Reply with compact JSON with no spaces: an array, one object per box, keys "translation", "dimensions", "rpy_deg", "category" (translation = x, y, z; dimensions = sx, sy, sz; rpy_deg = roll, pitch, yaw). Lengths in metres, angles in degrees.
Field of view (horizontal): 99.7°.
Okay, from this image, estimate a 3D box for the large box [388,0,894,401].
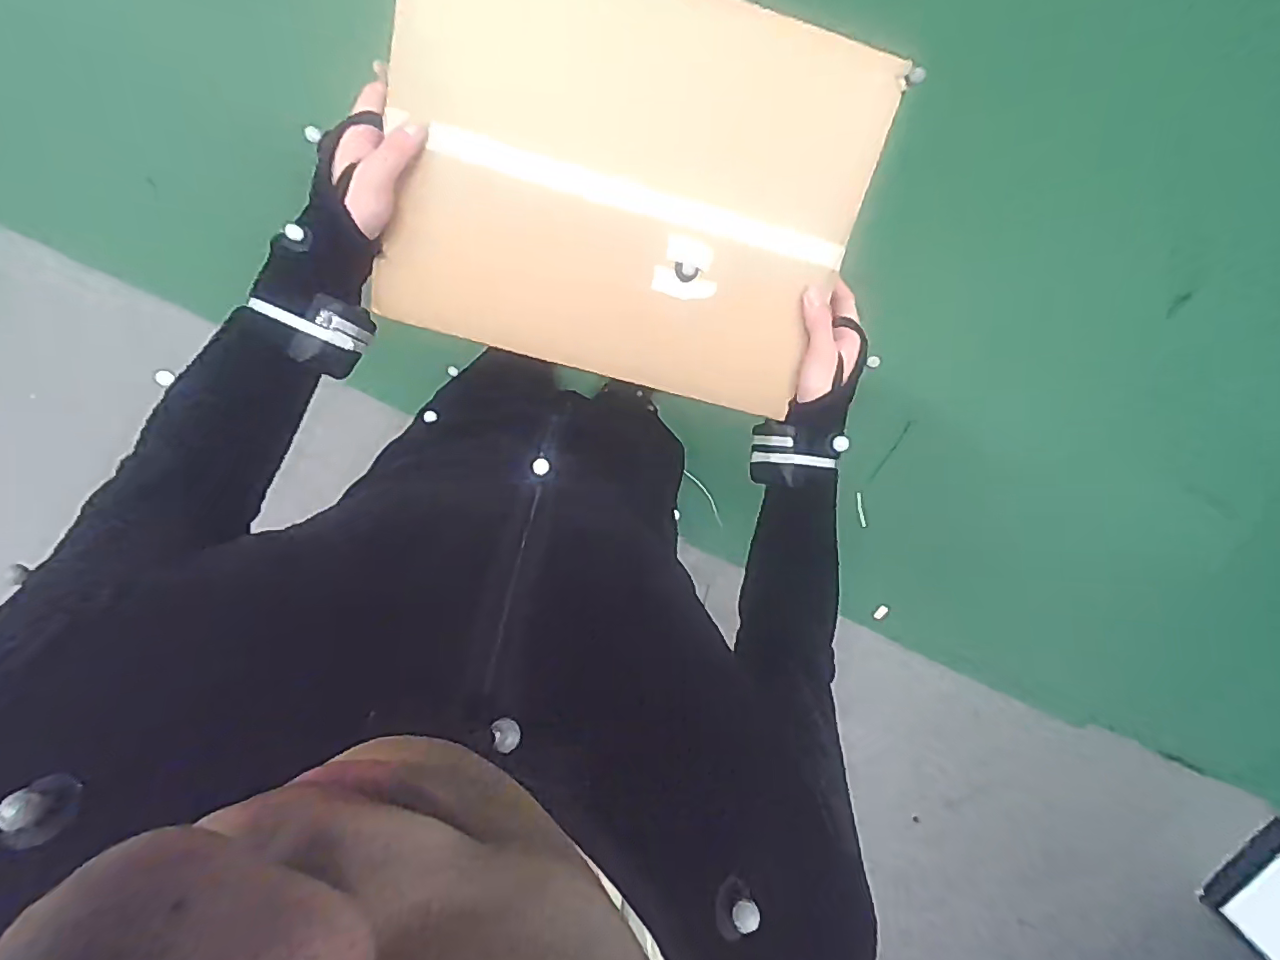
[{"translation":[-0.019,-0.308,0.620],"dimensions":[0.408,0.320,0.320],"rpy_deg":[13,109,-8],"category":"large box"}]
